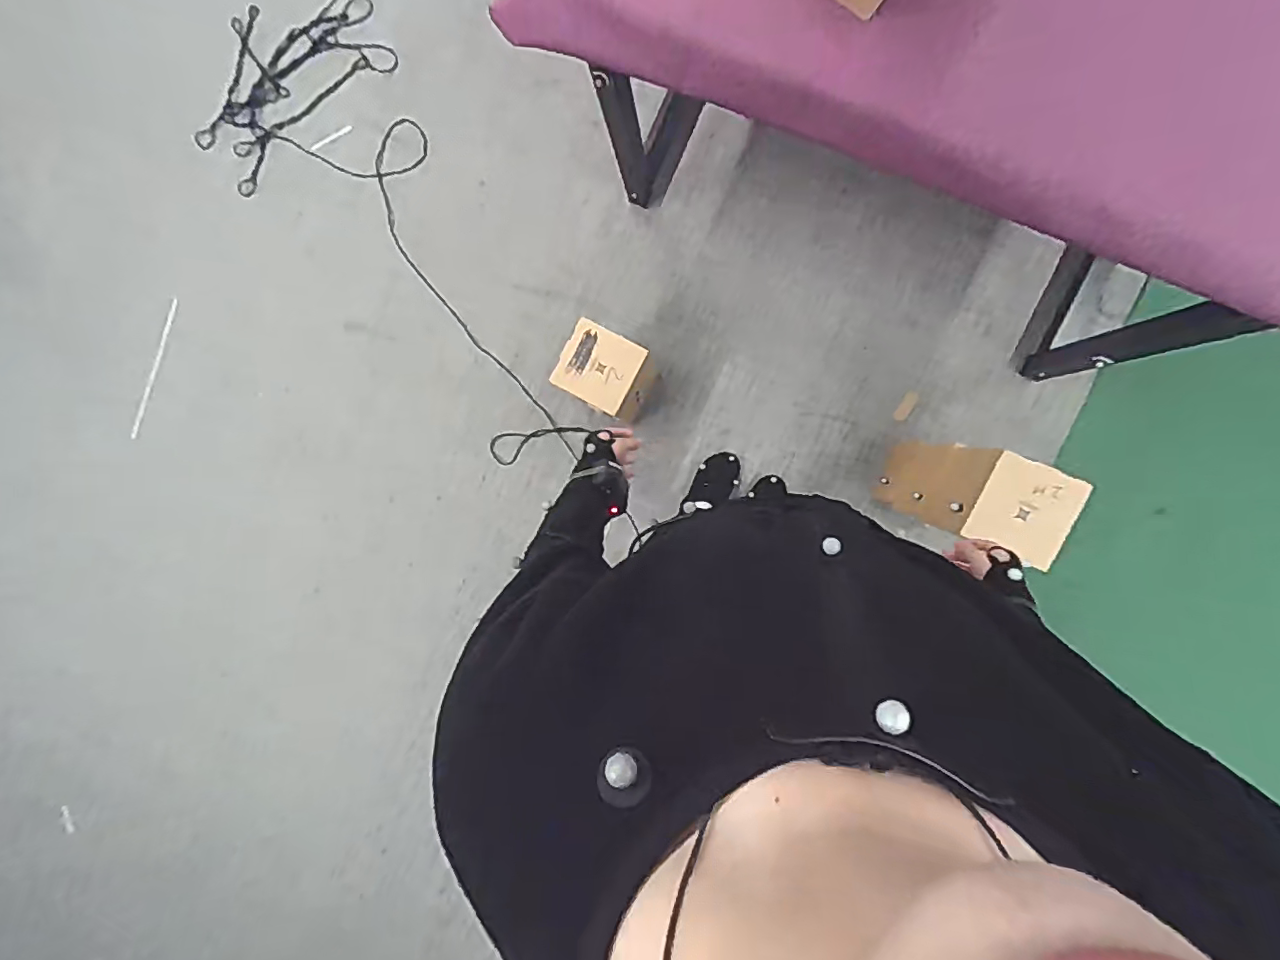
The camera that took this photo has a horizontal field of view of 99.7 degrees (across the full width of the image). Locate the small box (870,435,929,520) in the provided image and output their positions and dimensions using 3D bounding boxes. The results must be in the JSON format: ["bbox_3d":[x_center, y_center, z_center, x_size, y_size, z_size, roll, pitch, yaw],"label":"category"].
[{"bbox_3d":[0.714,-0.001,1.366,0.179,0.176,0.168,26,96,4],"label":"small box"}]

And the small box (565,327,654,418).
[{"bbox_3d":[-0.072,-0.276,1.440,0.168,0.176,0.179,29,97,4],"label":"small box"}]

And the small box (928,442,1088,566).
[{"bbox_3d":[0.690,0.038,1.043,0.168,0.176,0.179,24,97,4],"label":"small box"}]

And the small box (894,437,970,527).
[{"bbox_3d":[0.700,0.013,1.206,0.168,0.176,0.179,24,97,4],"label":"small box"}]
